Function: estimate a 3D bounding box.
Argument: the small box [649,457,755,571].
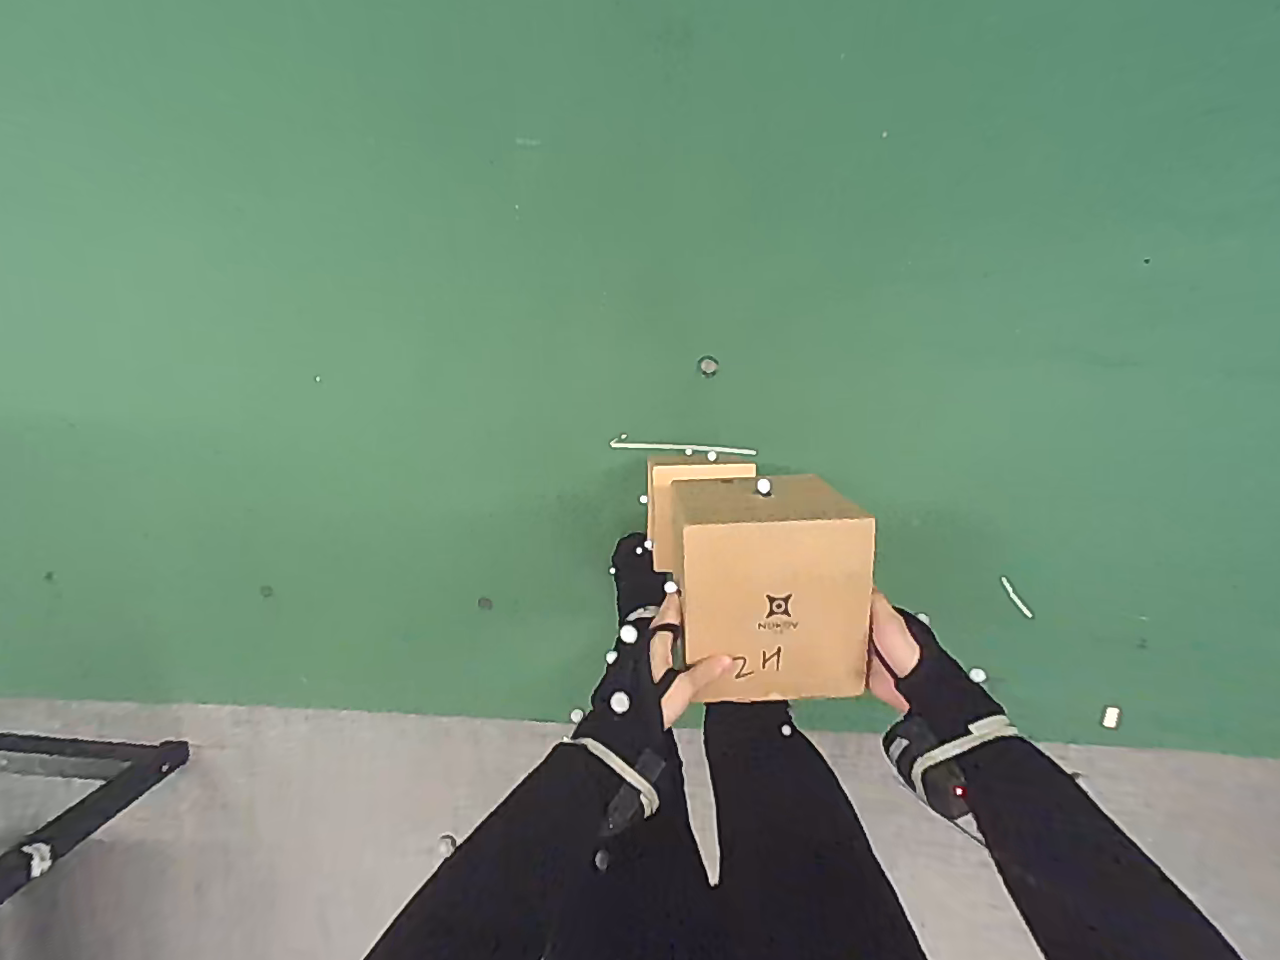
[{"bbox_3d":[0.100,0.051,0.938,0.168,0.176,0.179,-1,97,0],"label":"small box"}]
